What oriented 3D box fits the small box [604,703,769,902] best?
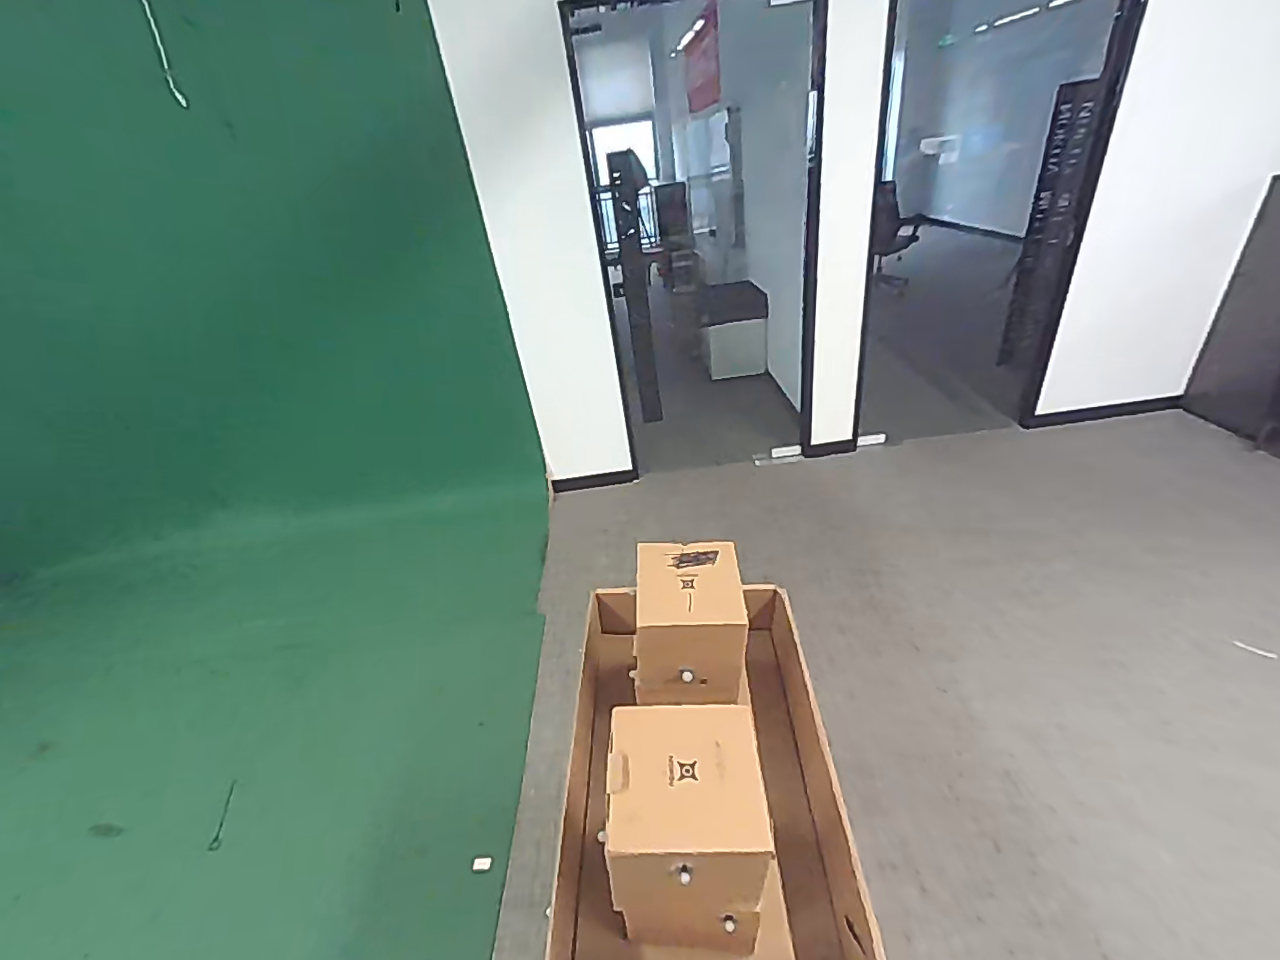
[{"bbox_3d":[0.052,0.399,0.671,0.179,0.176,0.168,-1,37,0],"label":"small box"}]

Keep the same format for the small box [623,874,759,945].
[{"bbox_3d":[0.067,0.528,0.768,0.179,0.176,0.168,2,35,4],"label":"small box"}]

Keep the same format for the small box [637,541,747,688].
[{"bbox_3d":[0.079,0.222,0.903,0.168,0.176,0.179,-1,38,2],"label":"small box"}]

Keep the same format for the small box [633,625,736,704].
[{"bbox_3d":[0.084,0.350,1.005,0.179,0.176,0.168,-1,38,3],"label":"small box"}]
